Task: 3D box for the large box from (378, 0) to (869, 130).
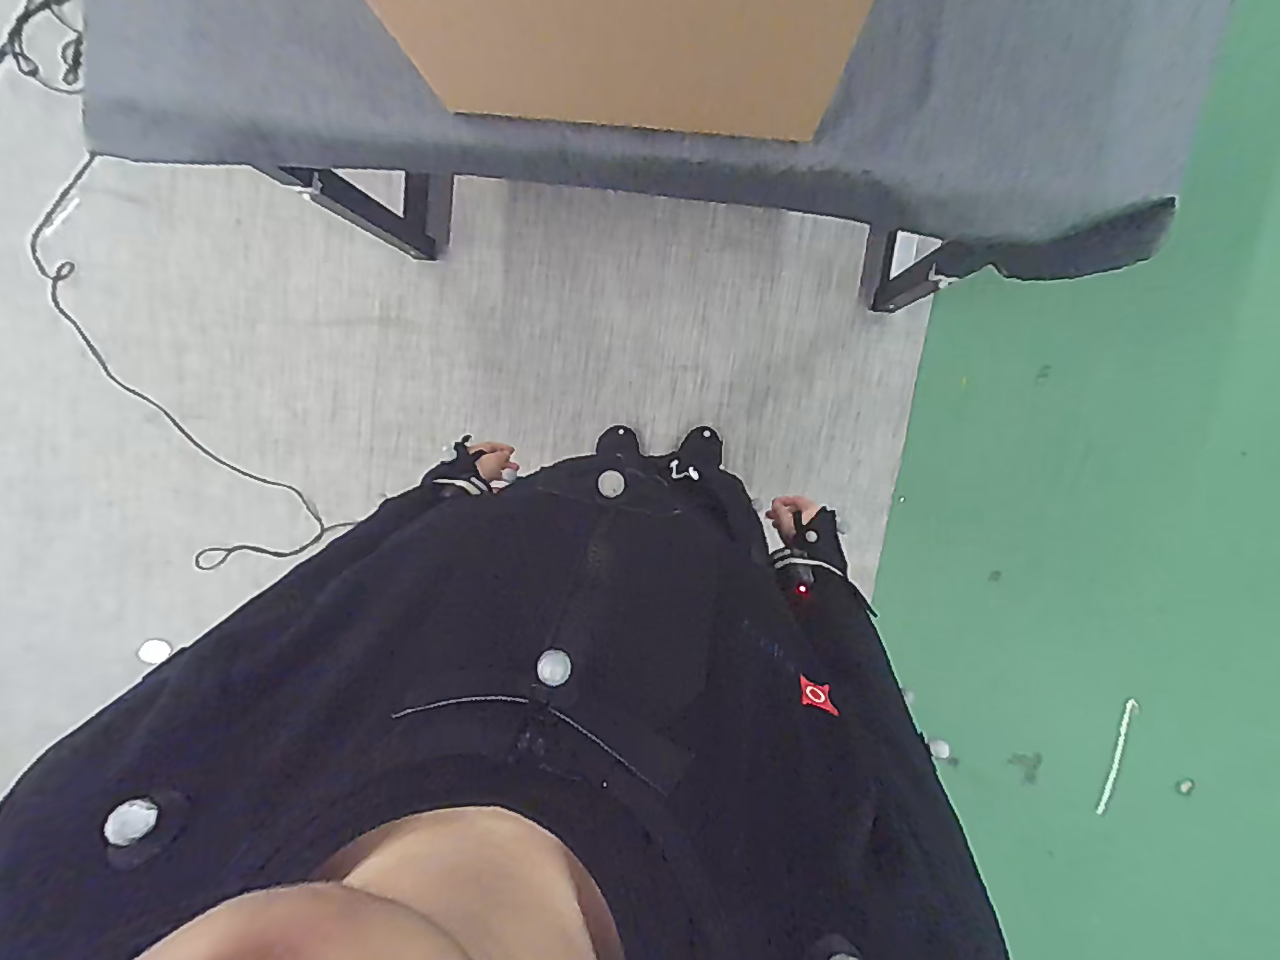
[{"bbox_3d":[-0.010,-0.525,0.425,0.408,0.320,0.320,6,96,3],"label":"large box"}]
